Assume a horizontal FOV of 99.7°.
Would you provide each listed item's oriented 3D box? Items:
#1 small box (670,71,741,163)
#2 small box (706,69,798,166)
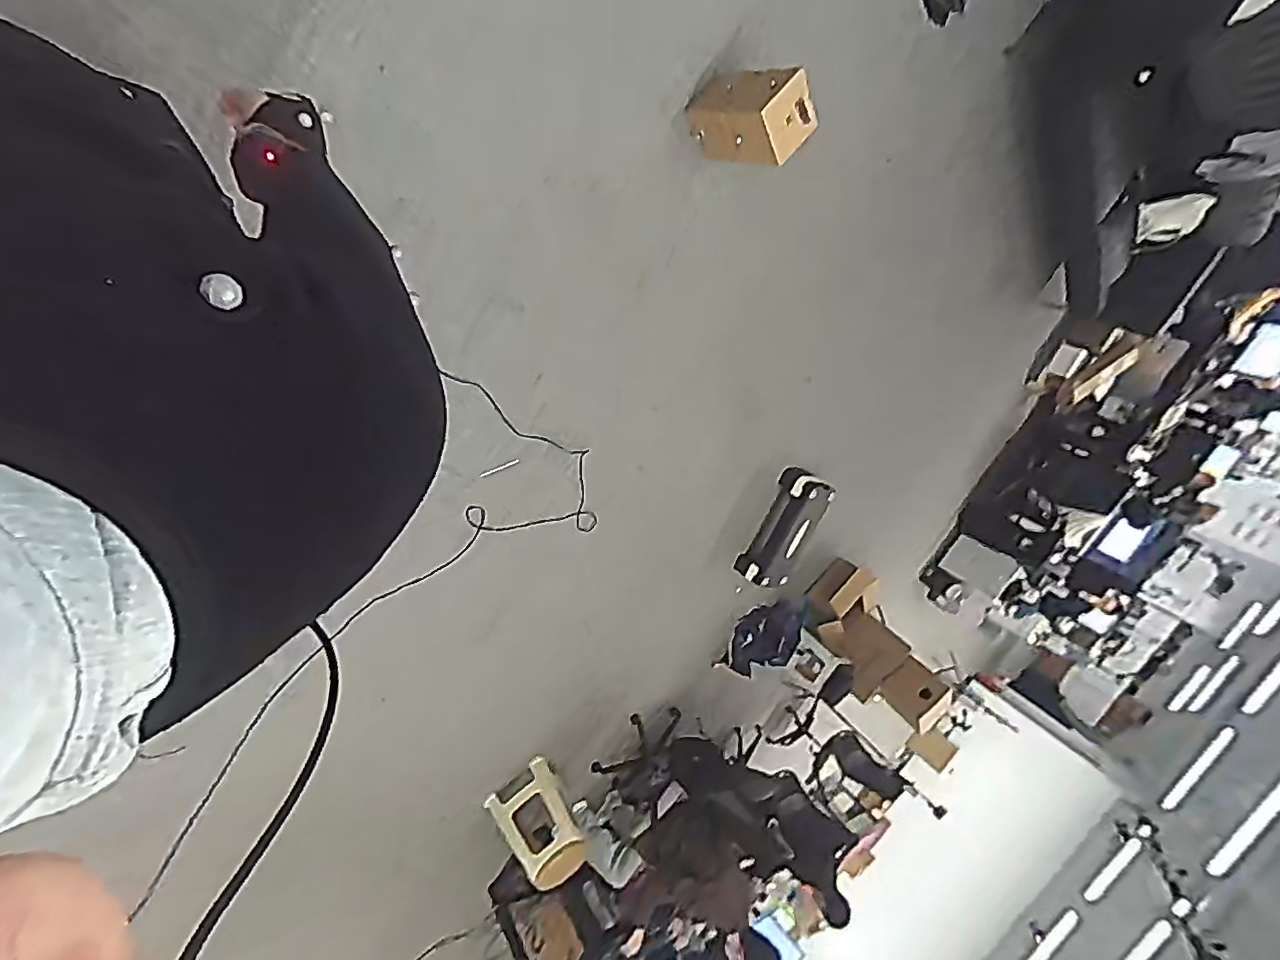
[{"bbox_3d":[0.226,-1.127,1.679,0.179,0.176,0.168,-49,137,-2],"label":"small box"},{"bbox_3d":[0.324,-1.051,1.570,0.179,0.176,0.168,-49,137,-3],"label":"small box"}]
